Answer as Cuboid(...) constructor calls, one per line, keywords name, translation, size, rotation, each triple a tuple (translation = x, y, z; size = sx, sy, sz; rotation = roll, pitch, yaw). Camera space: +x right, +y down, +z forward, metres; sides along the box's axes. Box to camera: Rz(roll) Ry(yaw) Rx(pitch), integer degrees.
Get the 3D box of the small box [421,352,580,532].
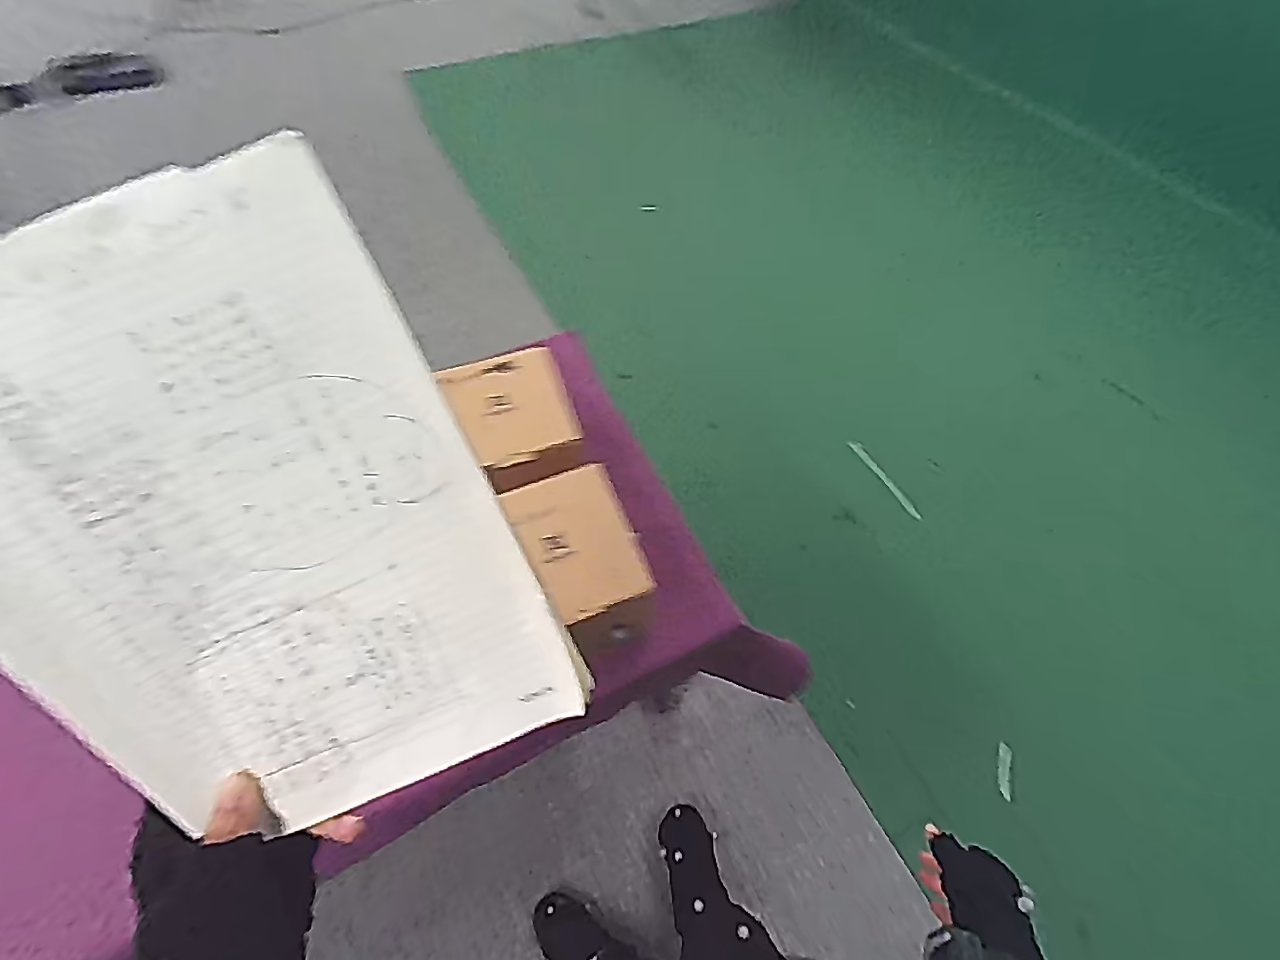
Cuboid(name="small box", translation=(-0.188, -0.044, 0.761), size=(0.168, 0.176, 0.179), rotation=(-17, 61, -13))
